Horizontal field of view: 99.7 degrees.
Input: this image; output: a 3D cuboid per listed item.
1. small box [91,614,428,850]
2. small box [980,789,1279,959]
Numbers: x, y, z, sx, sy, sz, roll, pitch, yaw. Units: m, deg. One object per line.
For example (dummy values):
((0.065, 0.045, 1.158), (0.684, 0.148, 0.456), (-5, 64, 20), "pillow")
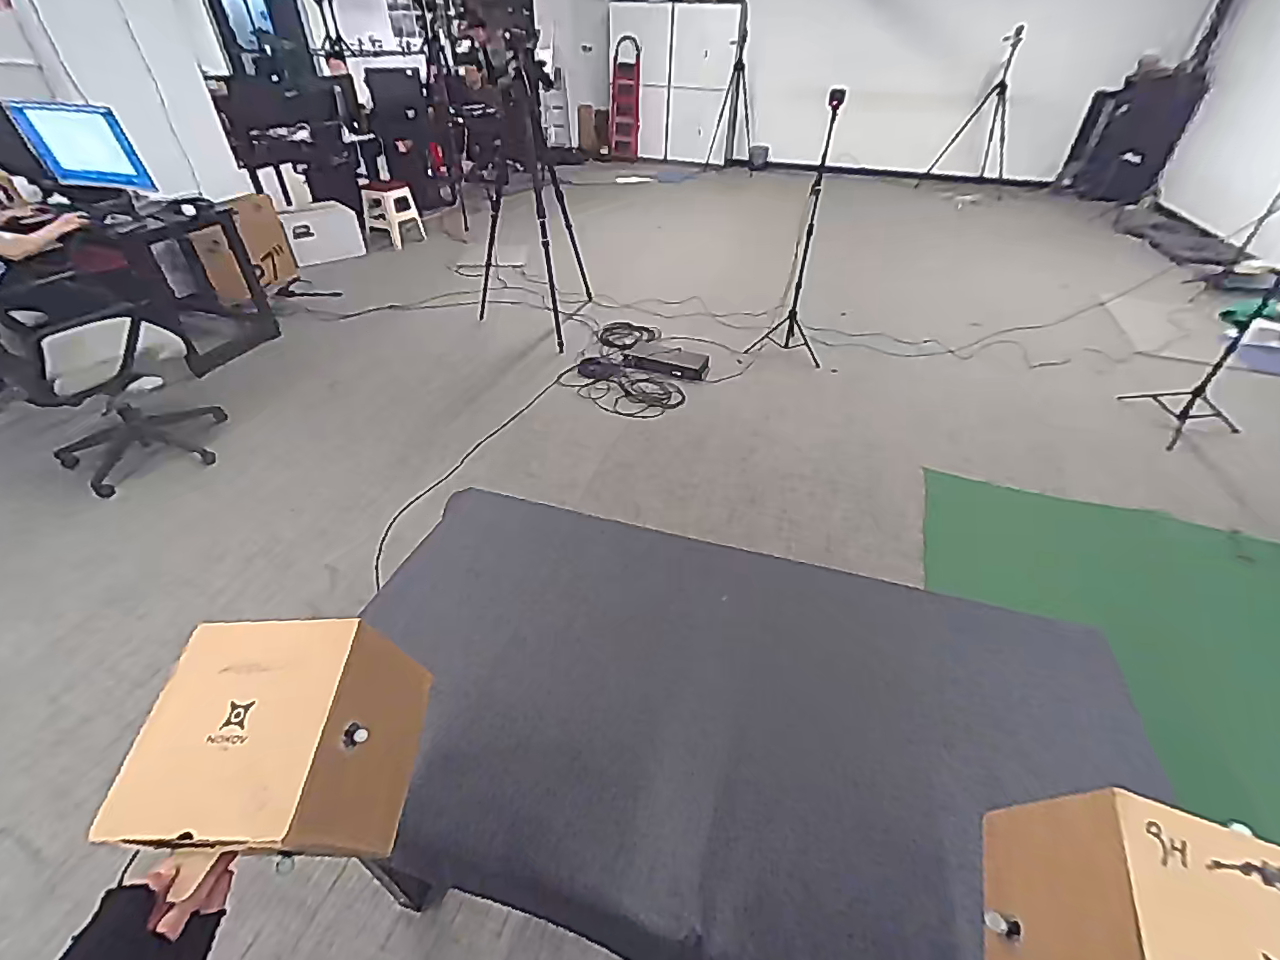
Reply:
((-0.326, 0.244, 0.513), (0.168, 0.176, 0.179), (-3, 53, 4), "small box")
((0.367, 0.349, 0.379), (0.168, 0.176, 0.179), (18, 56, 9), "small box")
